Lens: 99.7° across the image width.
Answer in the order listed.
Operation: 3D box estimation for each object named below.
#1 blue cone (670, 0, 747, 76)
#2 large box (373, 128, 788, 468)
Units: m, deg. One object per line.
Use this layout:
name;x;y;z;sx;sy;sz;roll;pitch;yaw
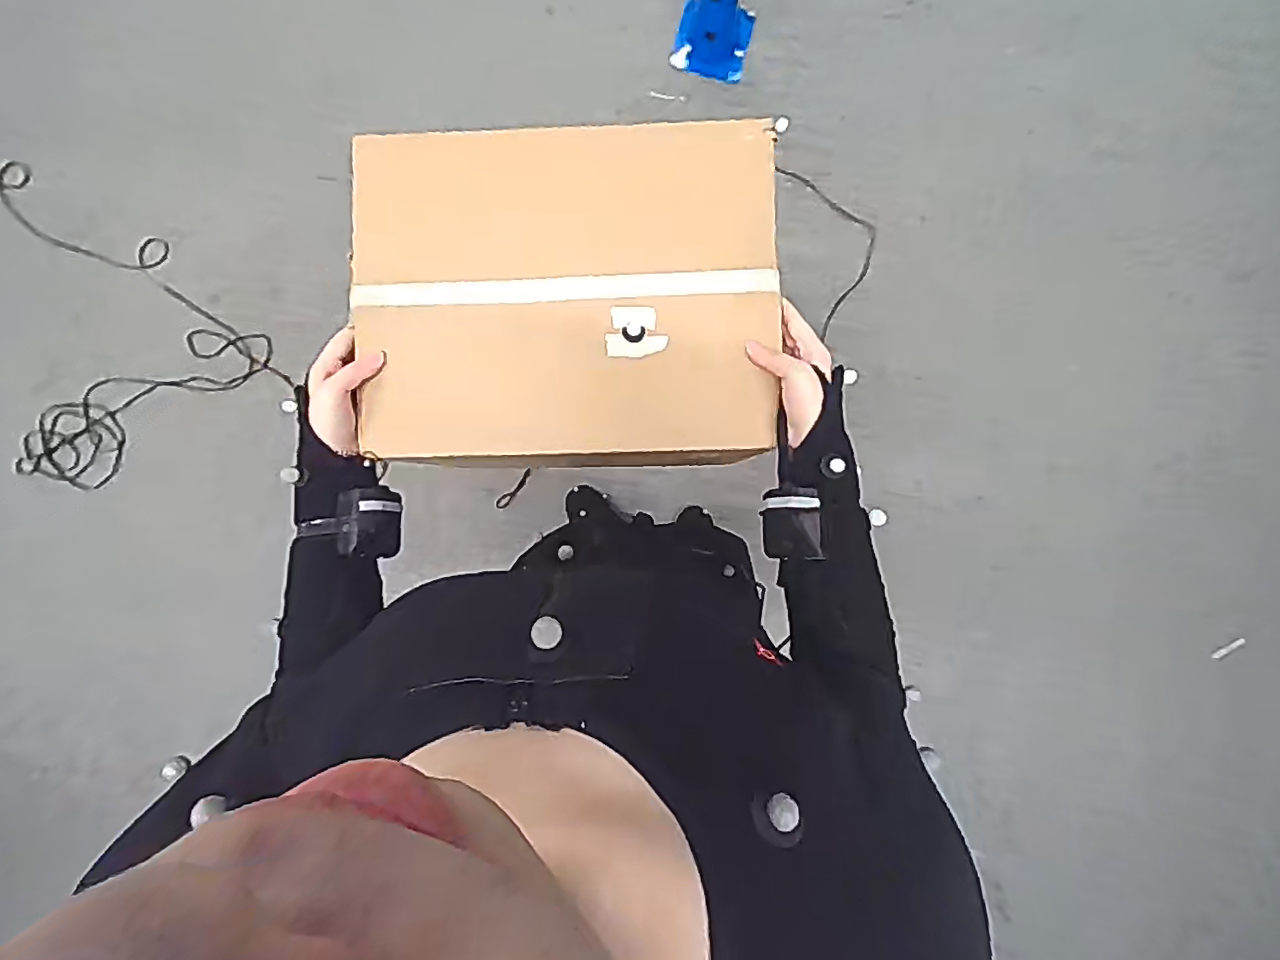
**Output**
blue cone;0.183;-1.215;1.323;0.193;0.380;0.192;17;91;1
large box;-0.060;-0.181;0.670;0.408;0.320;0.320;-1;89;0
